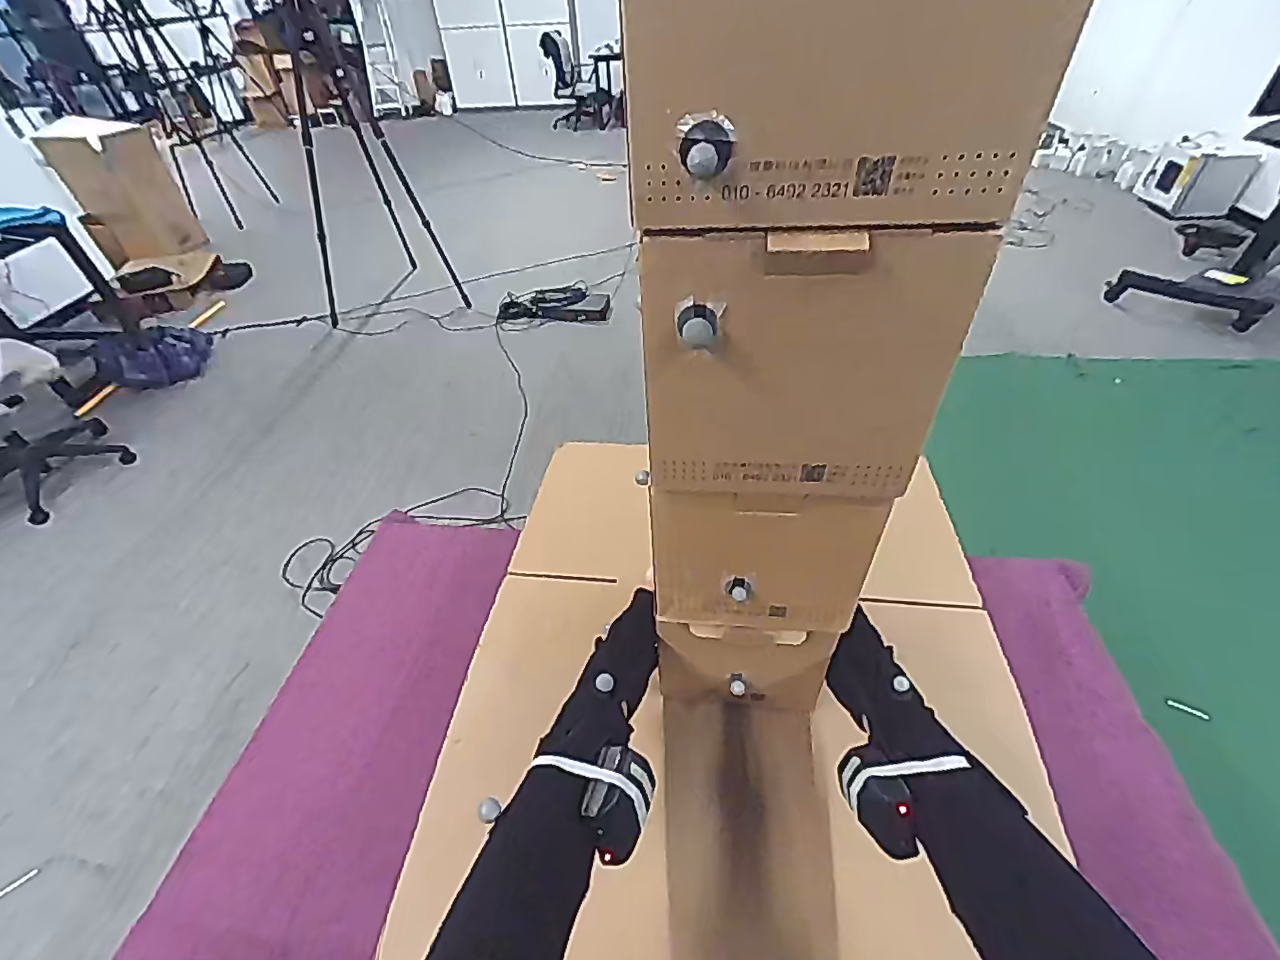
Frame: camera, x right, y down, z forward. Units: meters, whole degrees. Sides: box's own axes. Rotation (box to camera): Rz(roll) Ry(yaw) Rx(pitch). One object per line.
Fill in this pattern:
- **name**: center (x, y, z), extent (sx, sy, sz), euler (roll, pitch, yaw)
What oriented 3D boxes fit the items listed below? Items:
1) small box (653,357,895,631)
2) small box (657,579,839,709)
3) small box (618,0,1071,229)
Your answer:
- **small box**: center (0.101, 0.009, 0.480), extent (0.168, 0.176, 0.179), euler (2, 44, 6)
- **small box**: center (0.111, 0.123, 0.596), extent (0.168, 0.176, 0.179), euler (3, 43, 8)
- **small box**: center (0.082, -0.227, 0.250), extent (0.168, 0.176, 0.179), euler (2, 42, 6)
